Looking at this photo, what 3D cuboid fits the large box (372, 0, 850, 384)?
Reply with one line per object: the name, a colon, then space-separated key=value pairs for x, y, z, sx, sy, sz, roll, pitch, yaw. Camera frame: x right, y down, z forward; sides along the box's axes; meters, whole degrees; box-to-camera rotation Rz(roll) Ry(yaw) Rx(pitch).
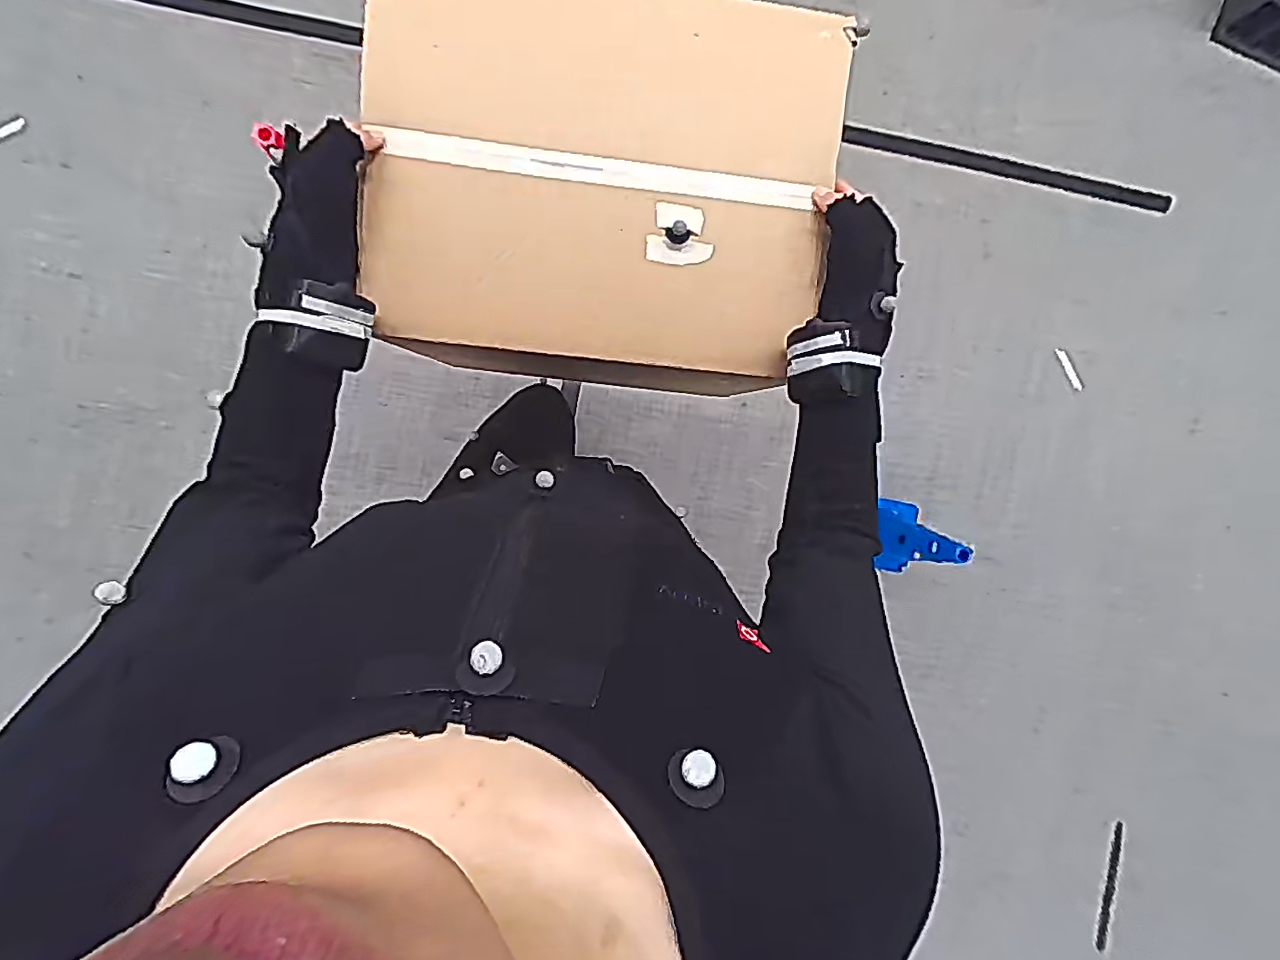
large box: x=-0.038 y=-0.291 z=0.616 sx=0.408 sy=0.320 sz=0.320 roll=5 pitch=96 yaw=-6
